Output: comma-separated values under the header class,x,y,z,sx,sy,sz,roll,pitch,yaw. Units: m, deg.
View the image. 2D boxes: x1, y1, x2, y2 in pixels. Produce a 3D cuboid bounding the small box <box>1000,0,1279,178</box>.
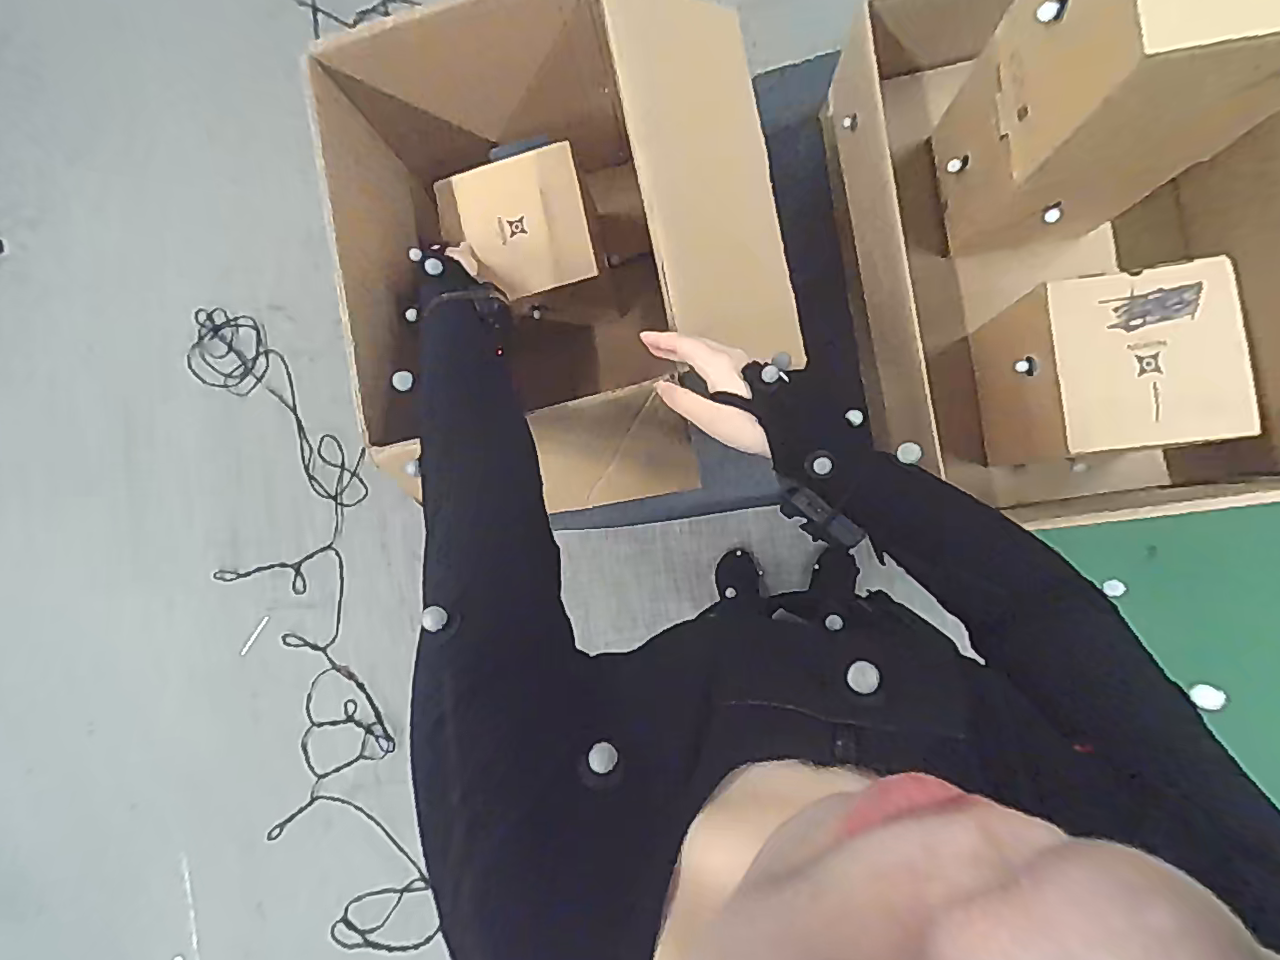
class,x,y,z,sx,sy,sz,roll,pitch,yaw
small box,0.437,-0.386,0.457,0.179,0.176,0.168,-6,89,6
